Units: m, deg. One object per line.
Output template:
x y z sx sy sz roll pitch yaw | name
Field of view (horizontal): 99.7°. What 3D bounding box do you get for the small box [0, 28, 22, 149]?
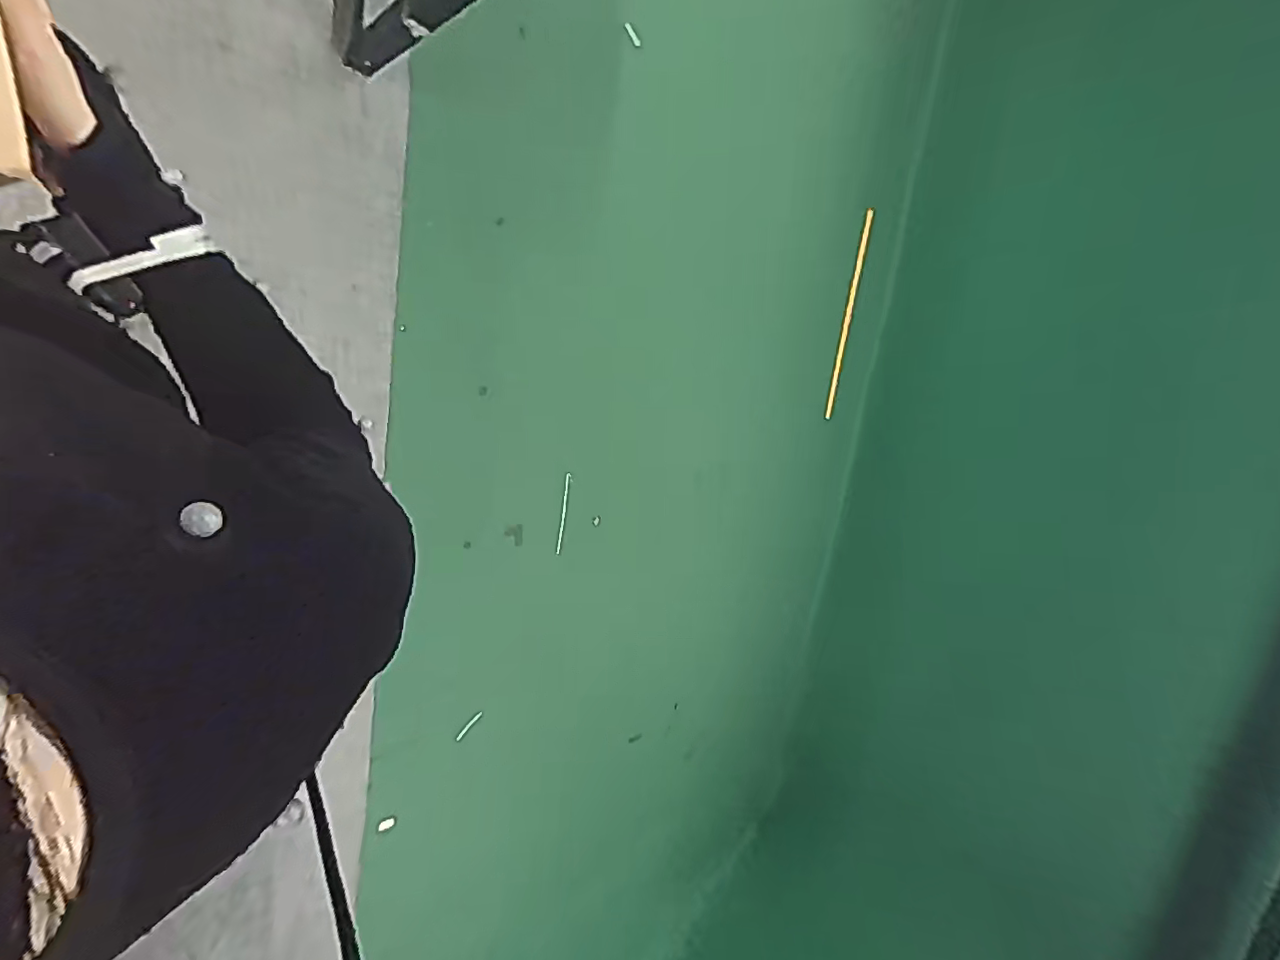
-0.410 -0.253 0.221 0.168 0.176 0.179 -19 120 -52 | small box
